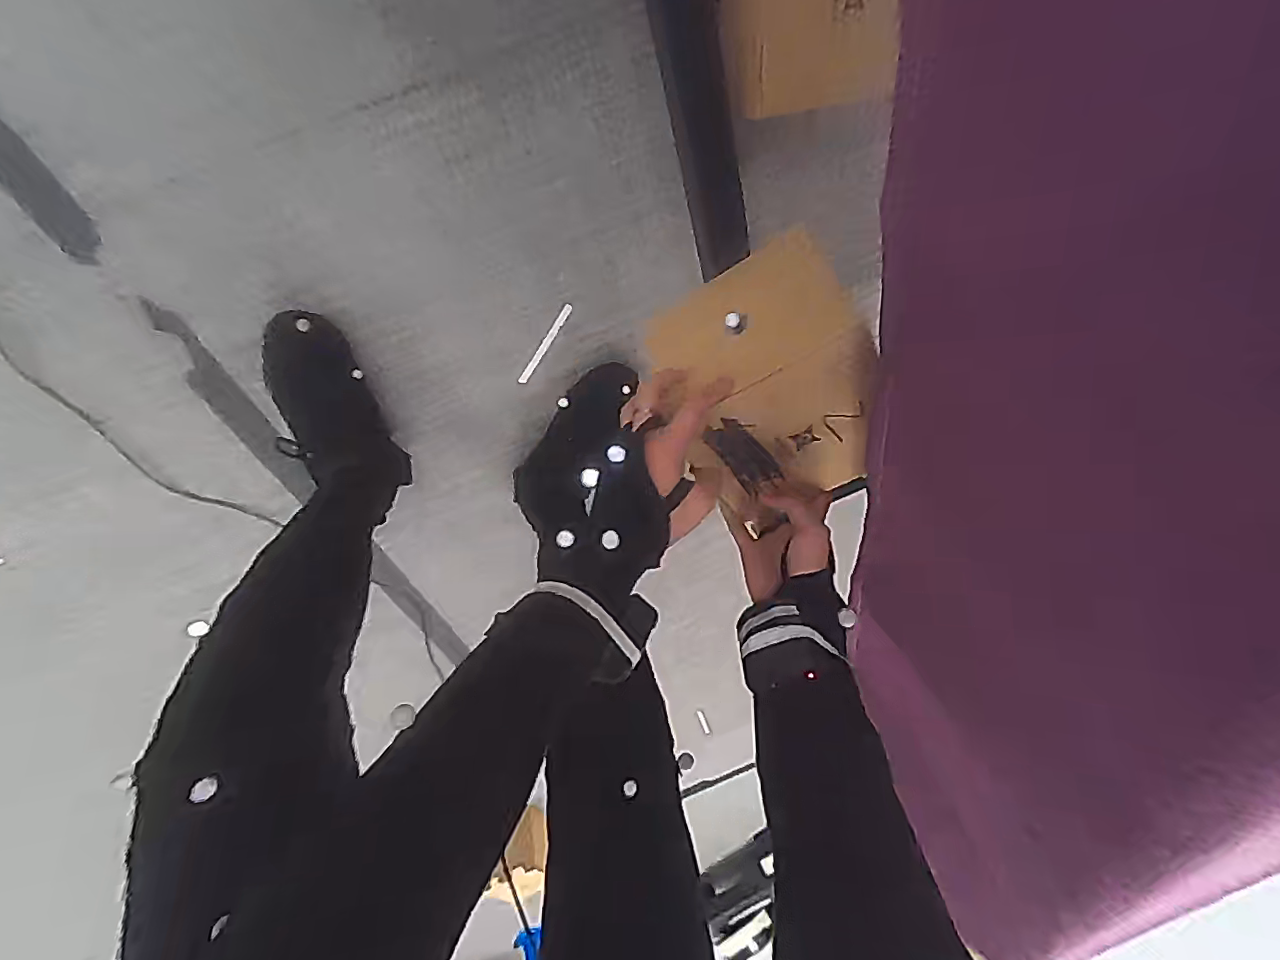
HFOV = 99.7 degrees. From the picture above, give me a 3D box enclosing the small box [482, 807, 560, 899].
[{"bbox_3d":[-0.357,1.111,1.615,0.168,0.176,0.179,-24,130,1],"label":"small box"}]
